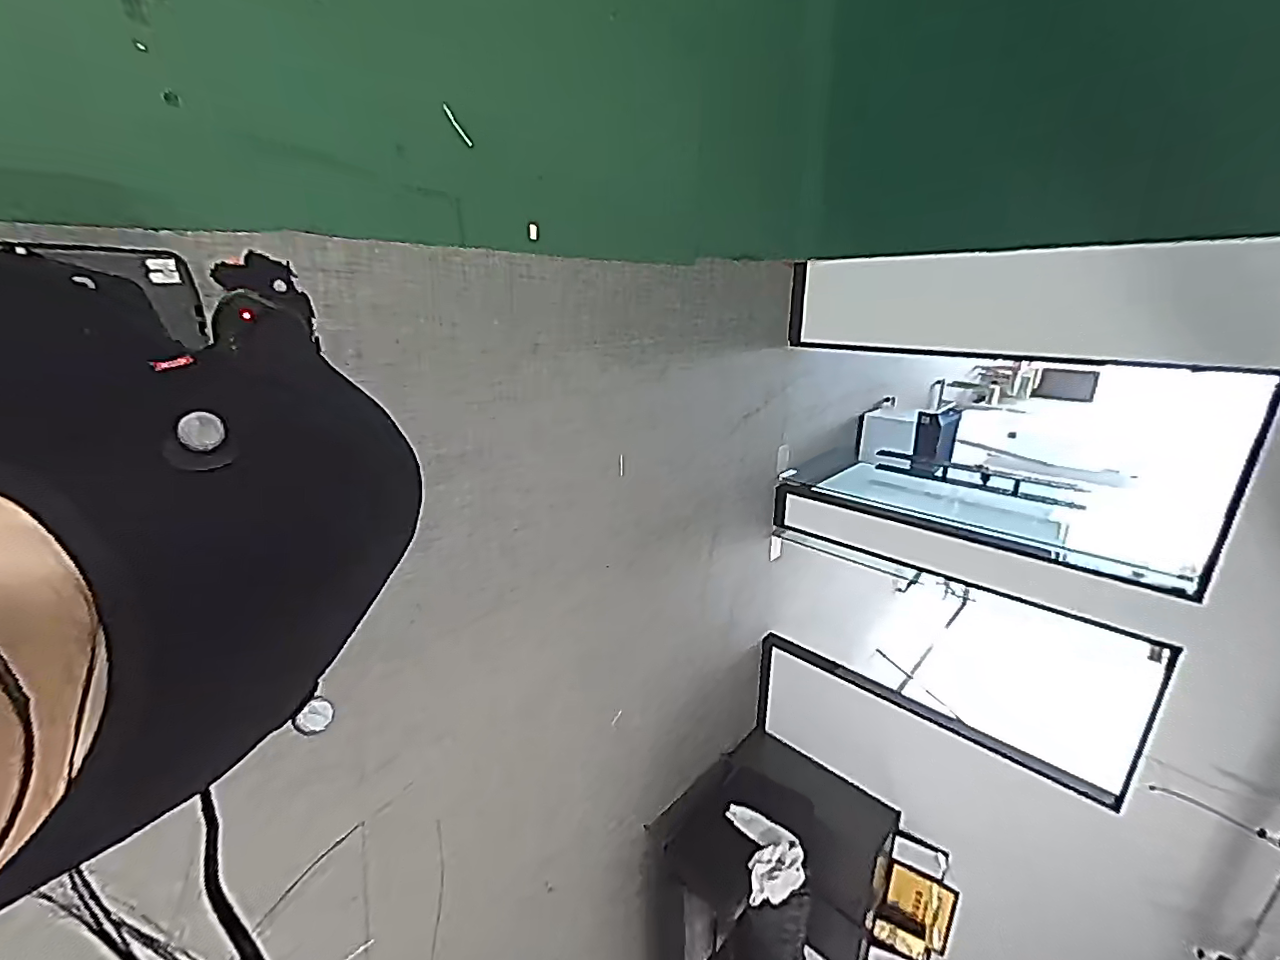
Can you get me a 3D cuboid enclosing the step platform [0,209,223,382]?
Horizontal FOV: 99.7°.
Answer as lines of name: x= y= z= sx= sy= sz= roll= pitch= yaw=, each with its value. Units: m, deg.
step platform: x=-1.101 y=-0.284 z=0.846 sx=0.684 sy=0.204 sz=0.286 roll=-18 pitch=117 yaw=-42
